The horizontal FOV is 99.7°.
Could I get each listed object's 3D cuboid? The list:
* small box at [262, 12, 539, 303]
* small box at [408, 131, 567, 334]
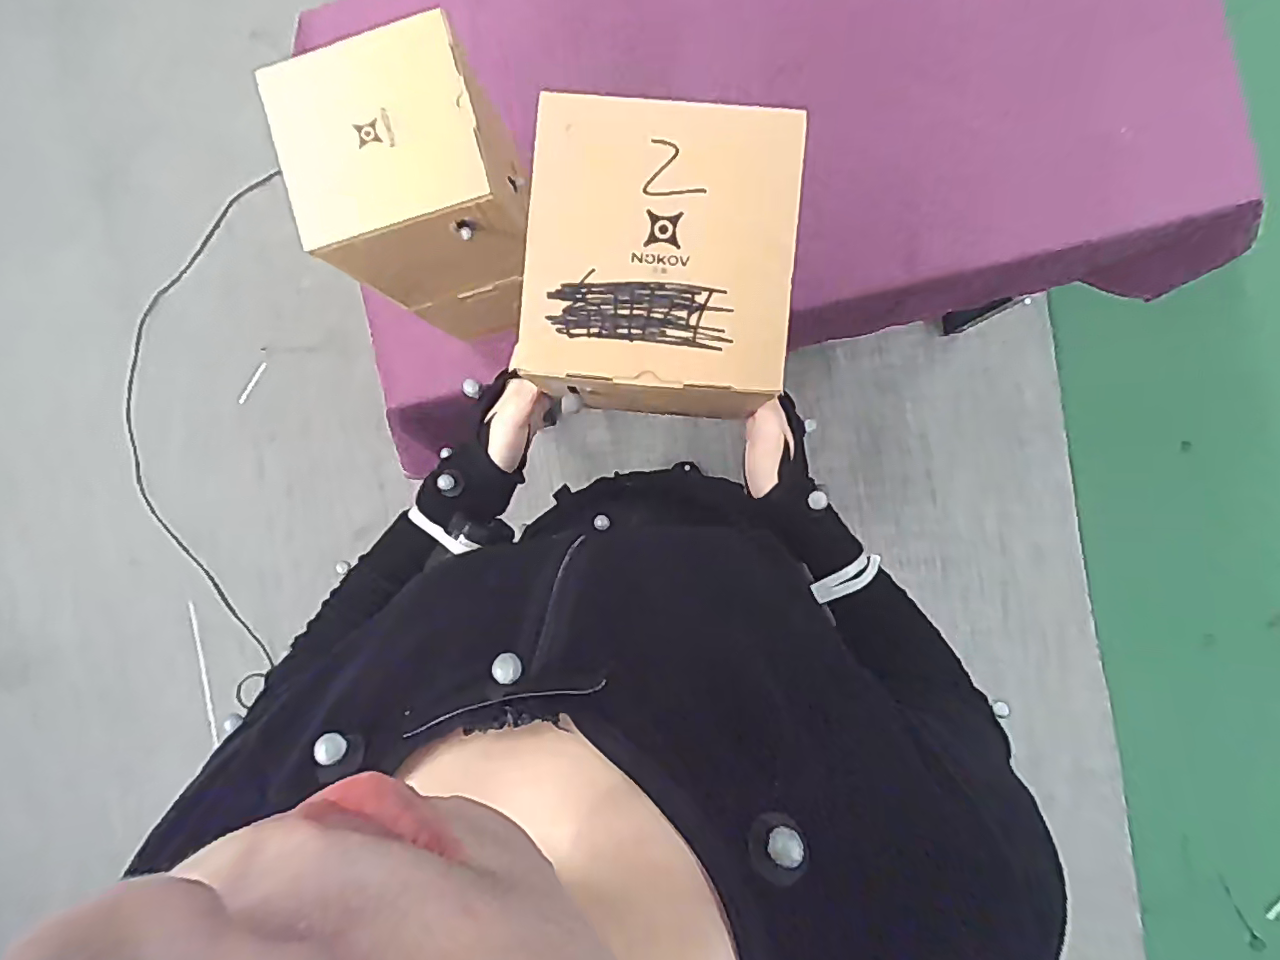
[{"bbox_3d":[-0.221,-0.298,0.543,0.179,0.176,0.168,-15,90,3],"label":"small box"},{"bbox_3d":[-0.204,-0.302,0.704,0.168,0.176,0.179,-13,90,4],"label":"small box"}]
